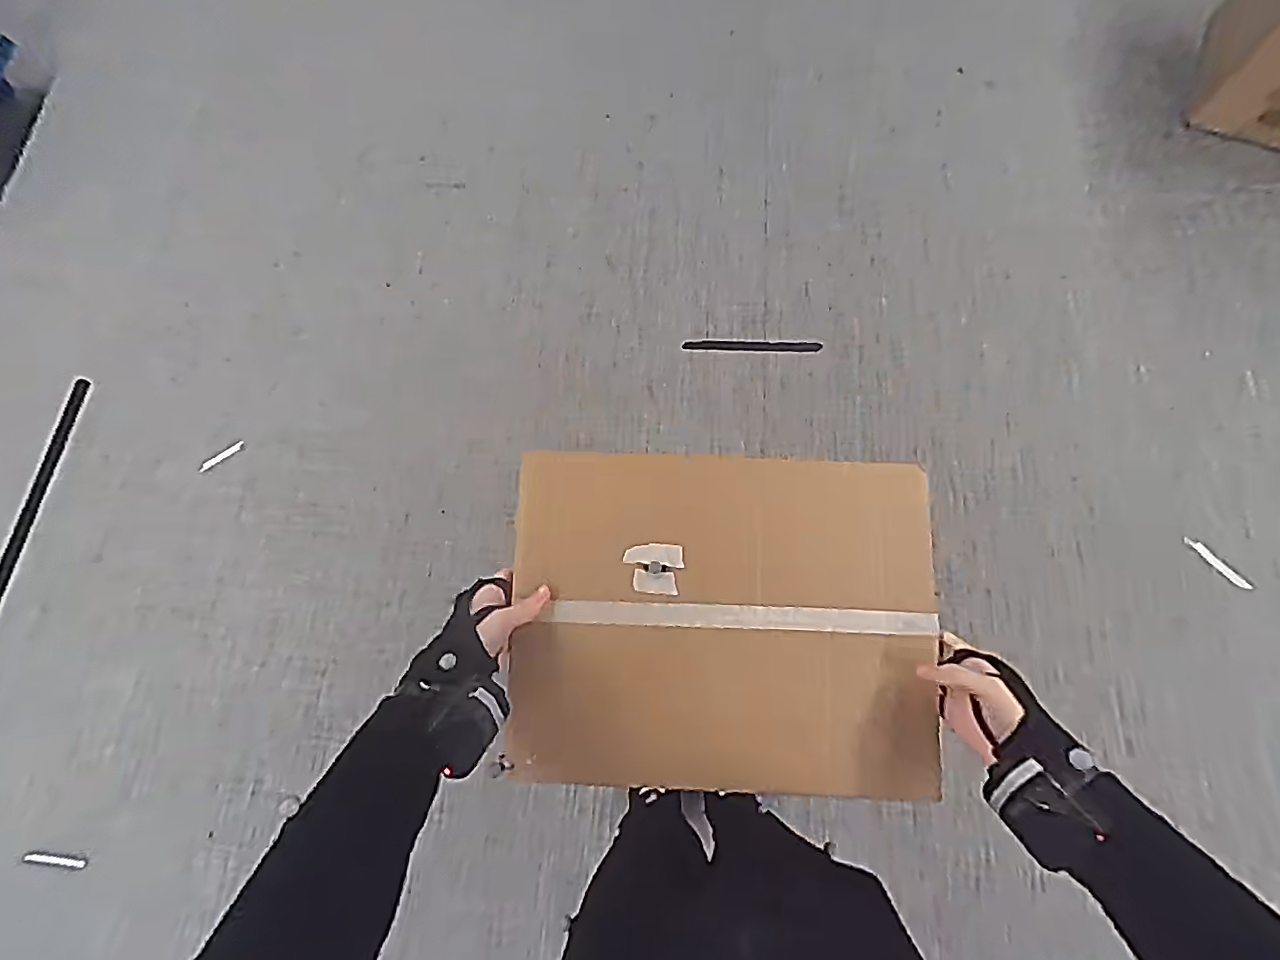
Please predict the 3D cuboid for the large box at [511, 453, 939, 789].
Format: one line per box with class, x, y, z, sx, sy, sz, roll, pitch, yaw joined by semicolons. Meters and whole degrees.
large box;0.086;0.148;0.667;0.408;0.320;0.320;2;81;2
